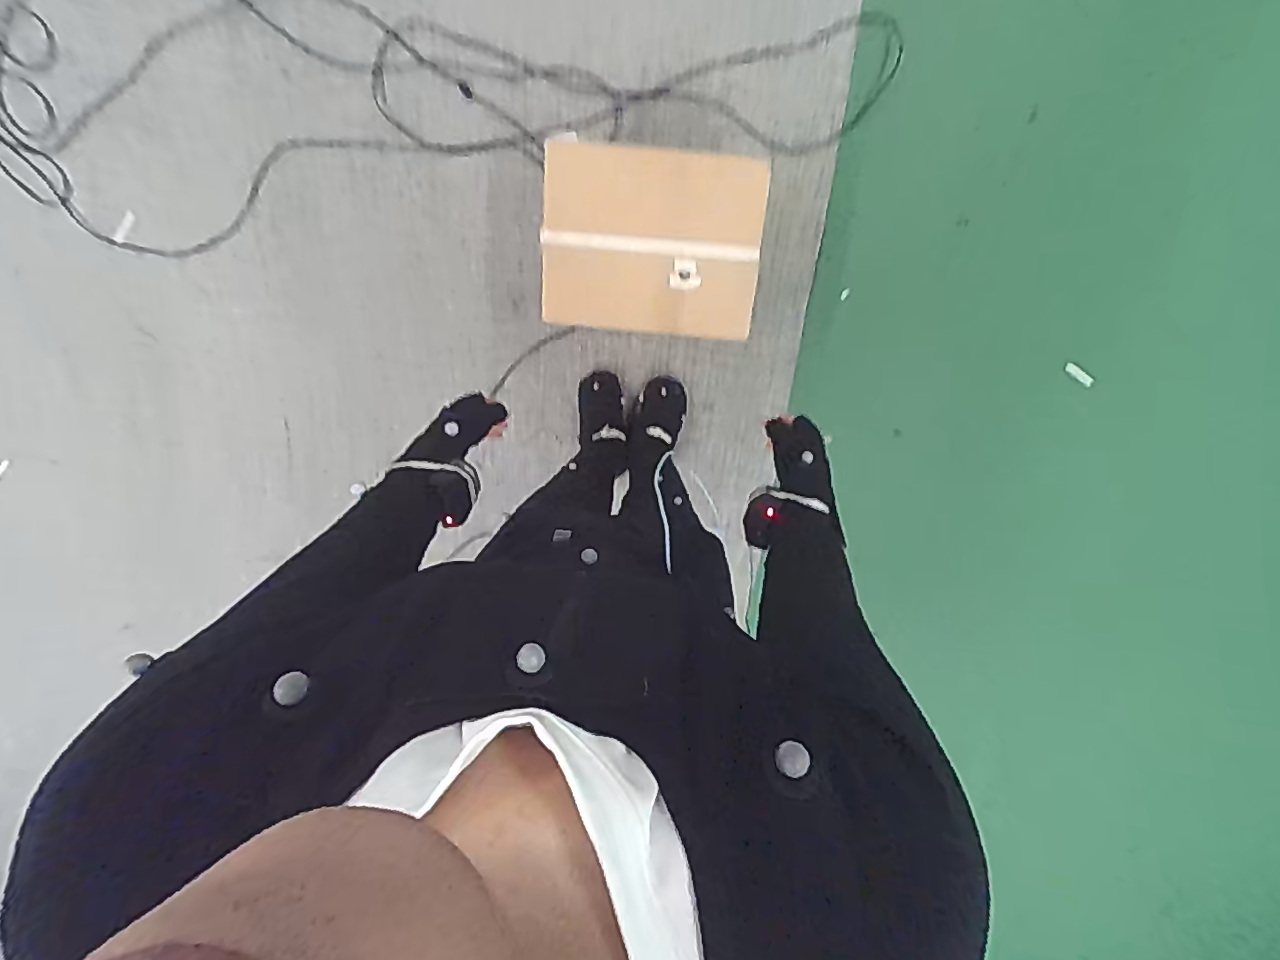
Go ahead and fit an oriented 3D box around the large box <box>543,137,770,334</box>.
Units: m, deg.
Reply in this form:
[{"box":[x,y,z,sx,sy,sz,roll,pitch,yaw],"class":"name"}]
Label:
[{"box":[0.018,-0.490,1.133,0.408,0.320,0.320,5,111,-2],"class":"large box"}]
